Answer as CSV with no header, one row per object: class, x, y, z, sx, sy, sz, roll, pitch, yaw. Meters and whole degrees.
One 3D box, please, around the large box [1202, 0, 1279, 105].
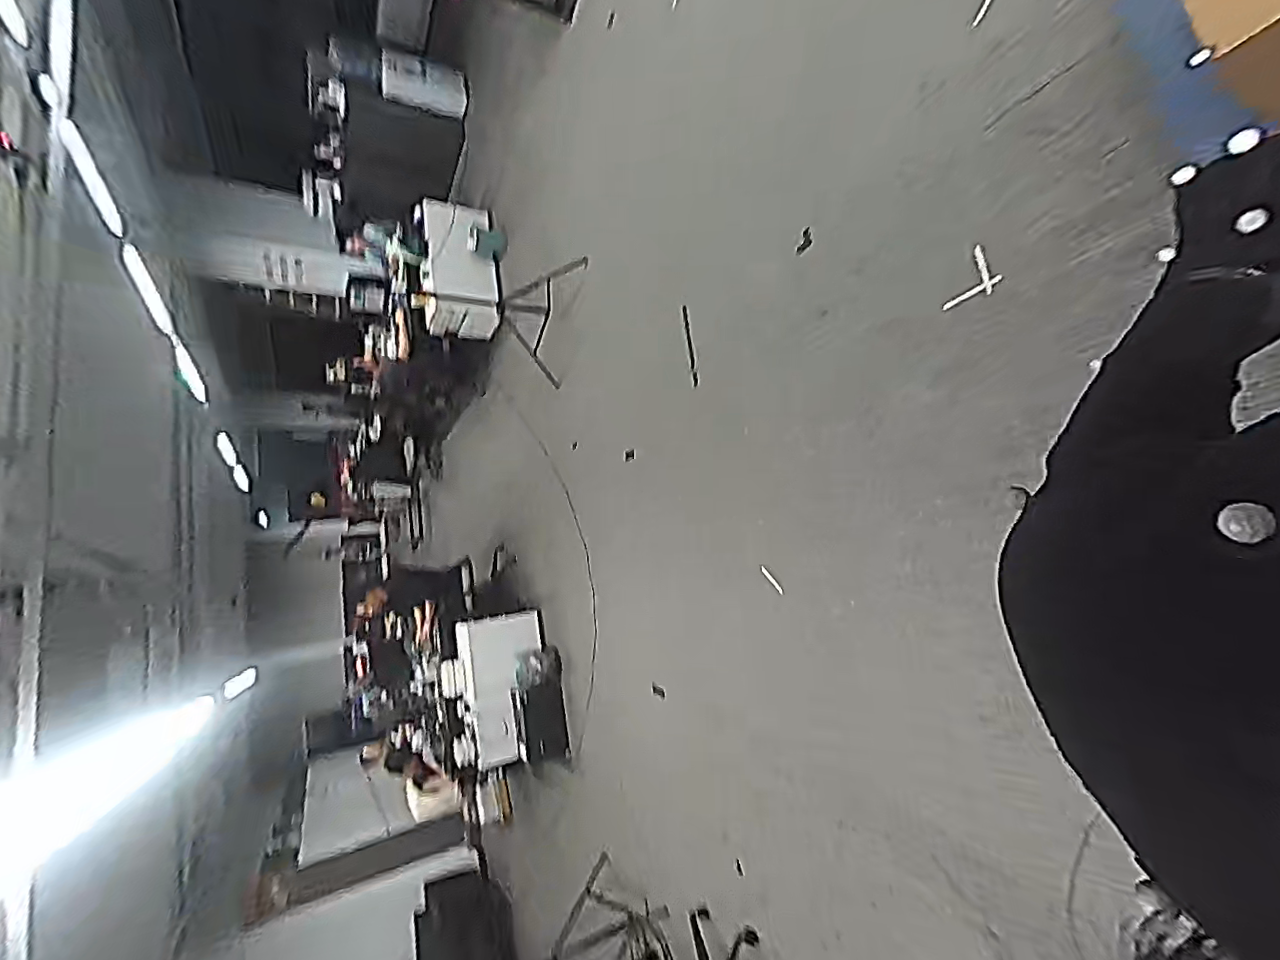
large box,0.995,-0.781,0.667,0.408,0.320,0.320,-27,69,58
